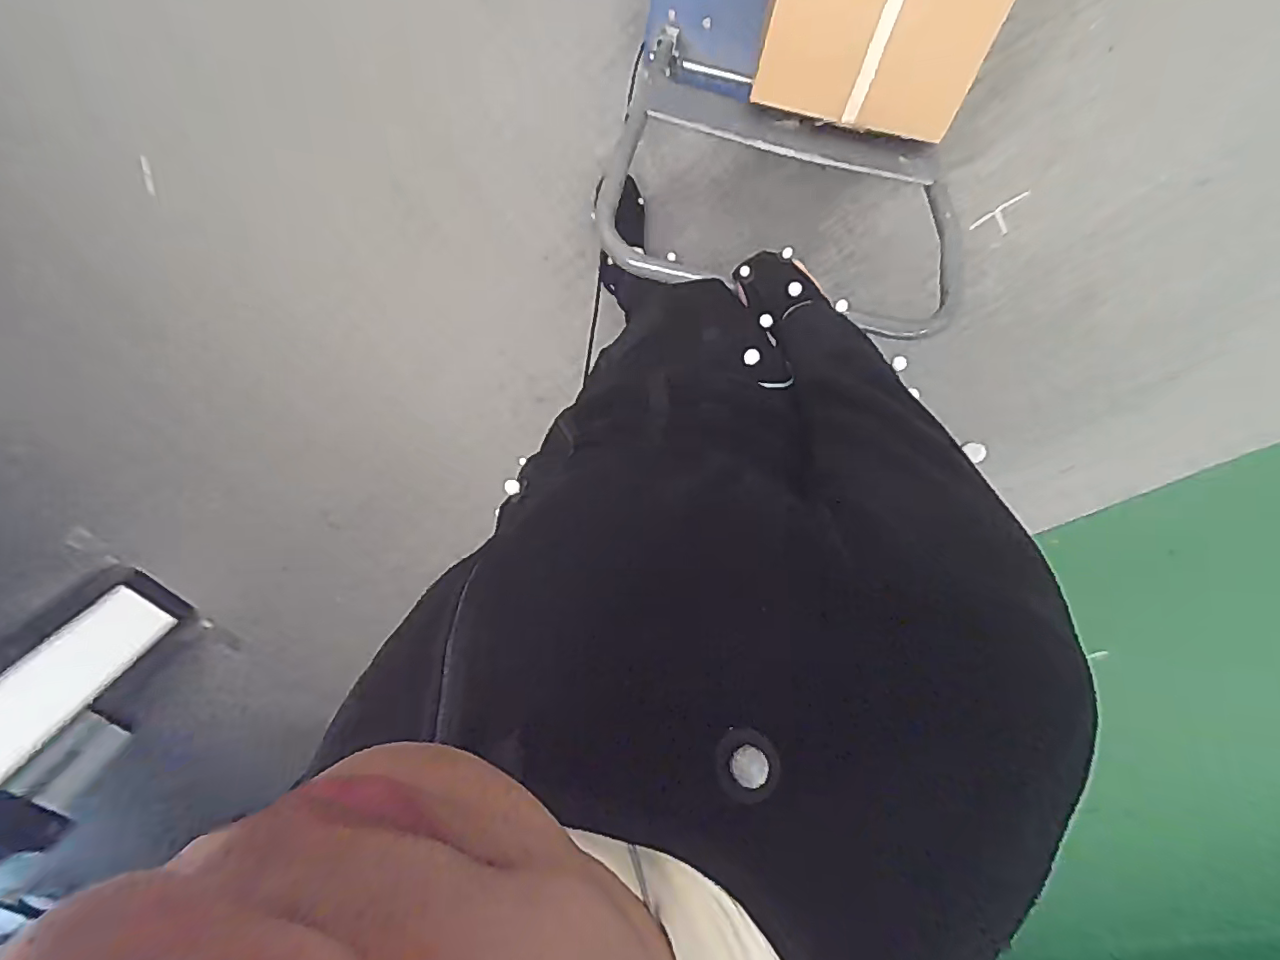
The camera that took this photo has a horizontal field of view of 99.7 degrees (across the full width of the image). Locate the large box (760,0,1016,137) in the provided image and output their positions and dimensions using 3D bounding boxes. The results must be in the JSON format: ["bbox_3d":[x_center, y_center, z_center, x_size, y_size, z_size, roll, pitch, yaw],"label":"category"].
[{"bbox_3d":[0.389,-0.809,0.805,0.320,0.320,0.408,12,140,-1],"label":"large box"}]
